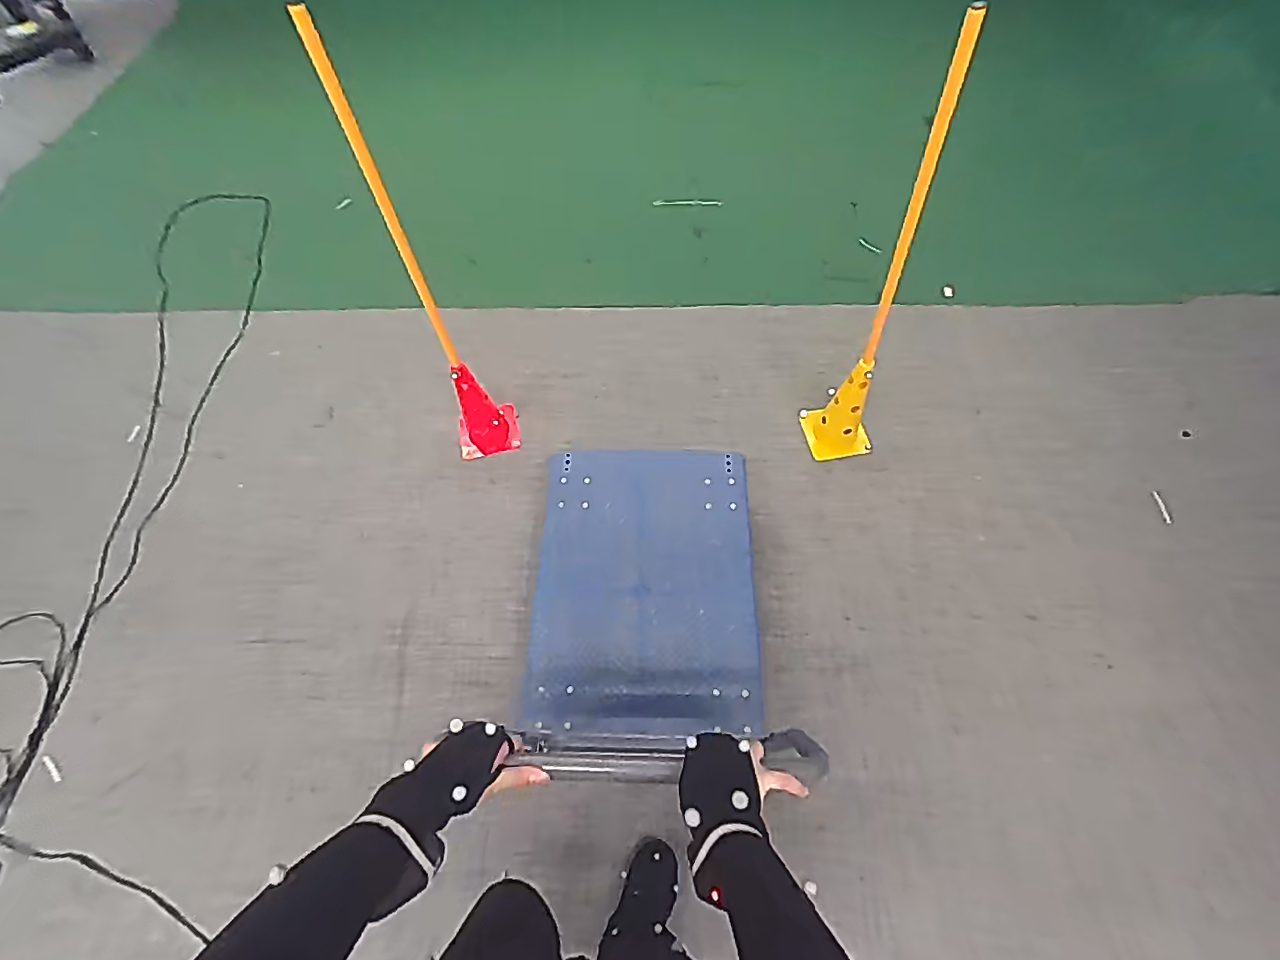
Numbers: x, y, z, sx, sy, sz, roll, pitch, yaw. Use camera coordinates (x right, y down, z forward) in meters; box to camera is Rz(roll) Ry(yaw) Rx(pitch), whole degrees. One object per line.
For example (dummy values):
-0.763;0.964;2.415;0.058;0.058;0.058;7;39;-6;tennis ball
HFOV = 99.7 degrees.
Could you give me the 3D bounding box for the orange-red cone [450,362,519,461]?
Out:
-0.532;-0.244;1.734;0.199;0.360;0.198;-13;61;-3;orange-red cone
